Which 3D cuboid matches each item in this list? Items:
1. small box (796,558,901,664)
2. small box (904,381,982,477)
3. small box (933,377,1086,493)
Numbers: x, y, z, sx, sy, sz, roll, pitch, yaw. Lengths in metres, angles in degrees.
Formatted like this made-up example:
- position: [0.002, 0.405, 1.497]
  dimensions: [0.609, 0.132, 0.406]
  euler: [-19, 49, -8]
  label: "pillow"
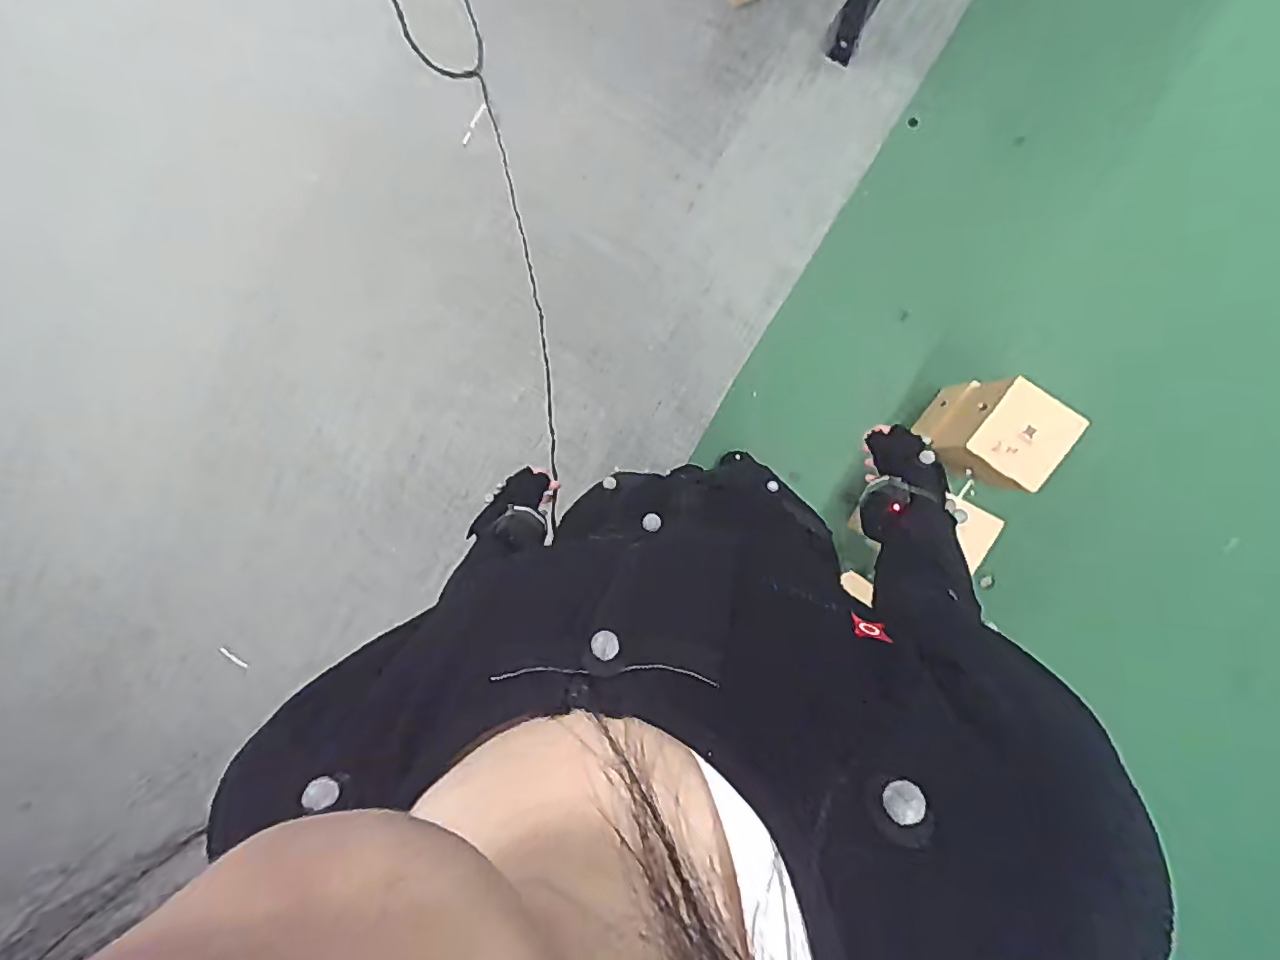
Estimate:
- position: [0.513, 0.322, 1.367]
  dimensions: [0.168, 0.176, 0.179]
  euler: [36, 96, 3]
  label: "small box"
- position: [0.784, -0.115, 1.314]
  dimensions: [0.179, 0.176, 0.168]
  euler: [37, 96, 3]
  label: "small box"
- position: [0.769, -0.094, 1.150]
  dimensions: [0.168, 0.176, 0.179]
  euler: [36, 96, 4]
  label: "small box"
